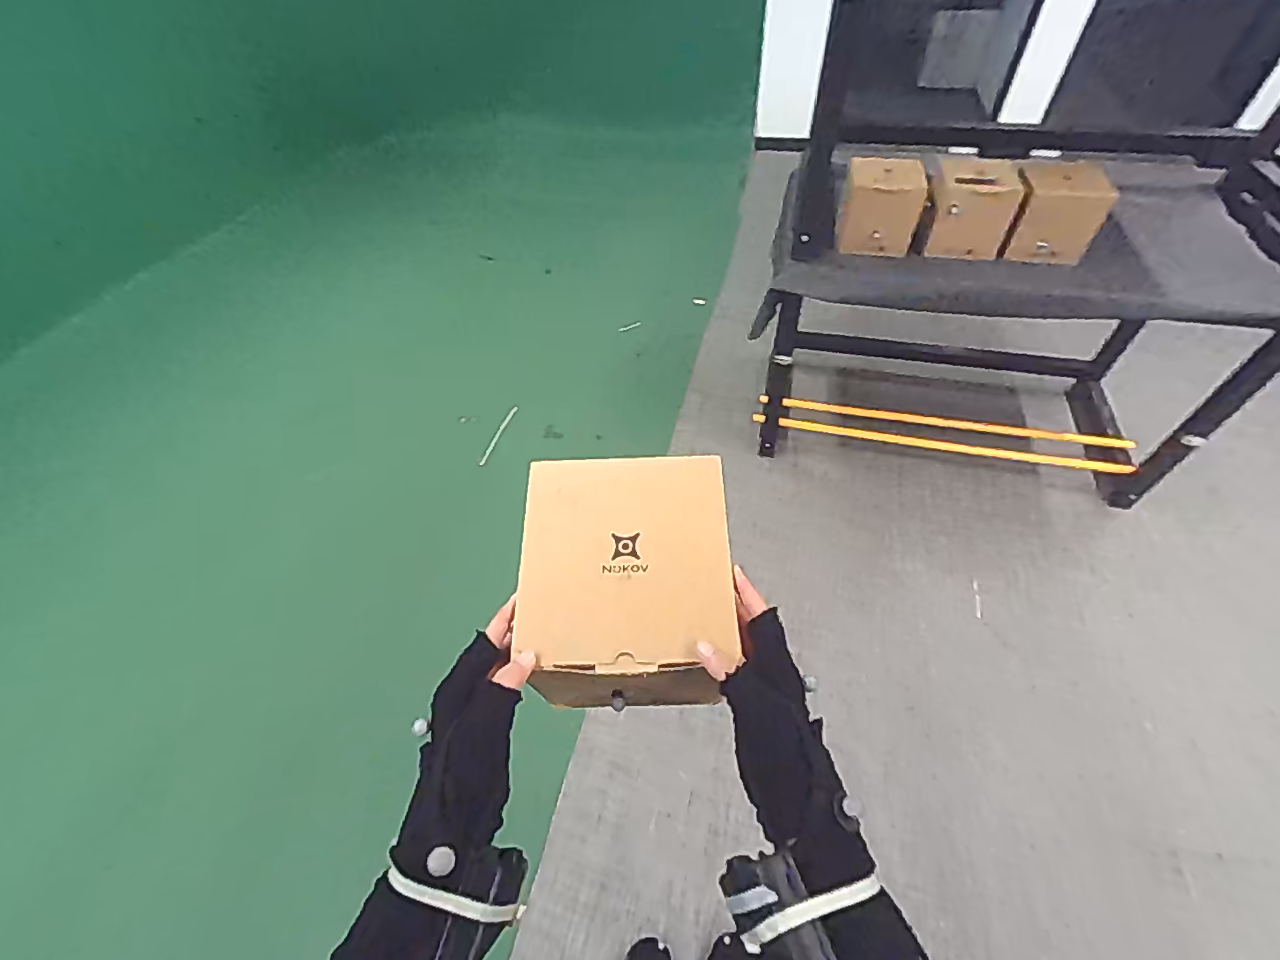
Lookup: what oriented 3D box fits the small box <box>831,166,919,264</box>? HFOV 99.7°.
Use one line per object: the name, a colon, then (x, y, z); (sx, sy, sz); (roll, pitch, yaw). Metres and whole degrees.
small box: (0.591, -0.678, 1.382); (0.168, 0.176, 0.179); (8, 51, 10)
